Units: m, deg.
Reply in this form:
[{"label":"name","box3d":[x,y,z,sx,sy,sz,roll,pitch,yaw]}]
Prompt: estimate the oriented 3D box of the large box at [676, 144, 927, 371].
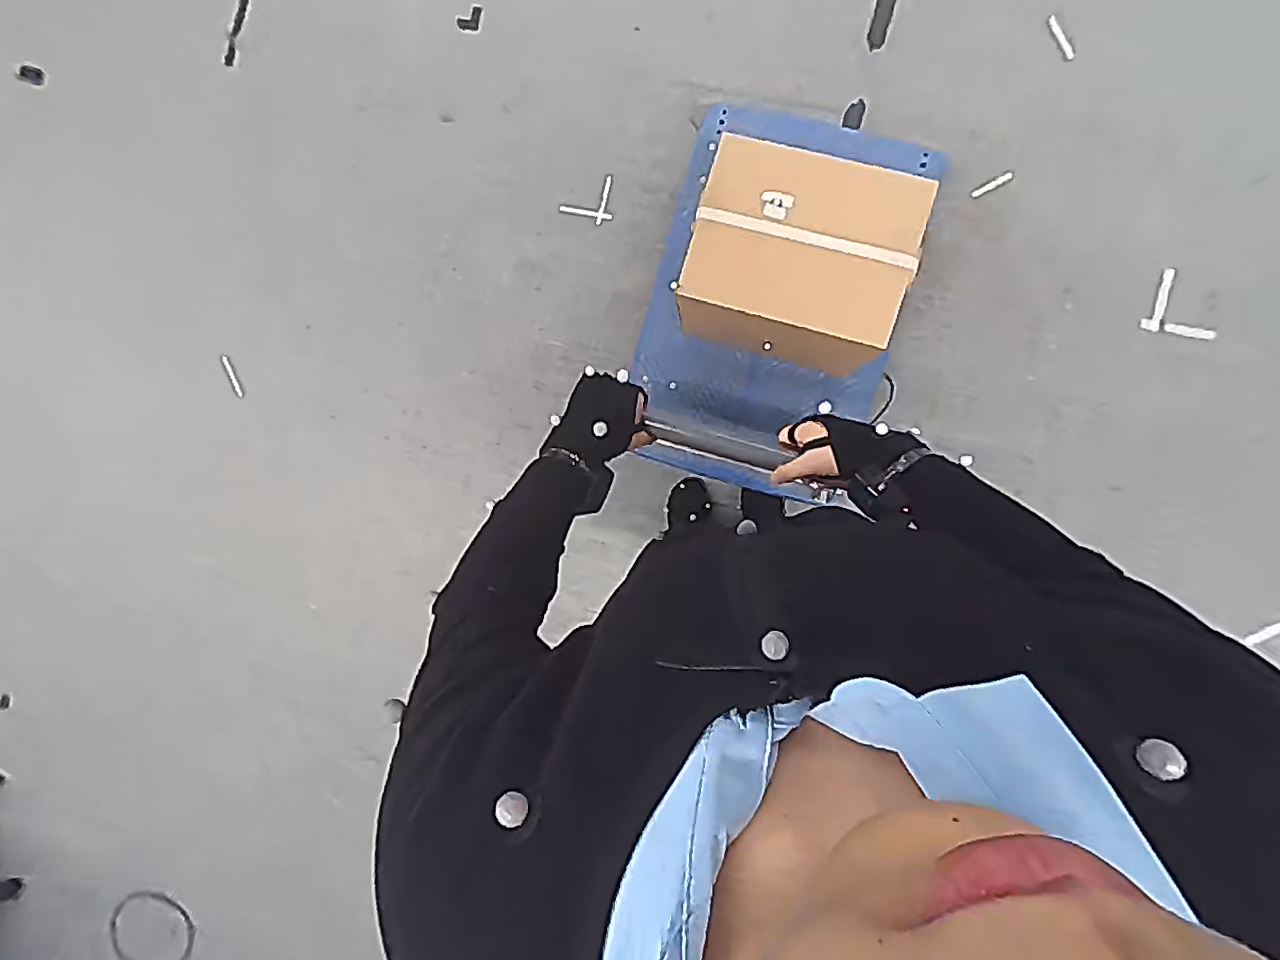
[{"label":"large box","box3d":[0.320,-0.452,1.167,0.408,0.320,0.320,17,92,8]}]
